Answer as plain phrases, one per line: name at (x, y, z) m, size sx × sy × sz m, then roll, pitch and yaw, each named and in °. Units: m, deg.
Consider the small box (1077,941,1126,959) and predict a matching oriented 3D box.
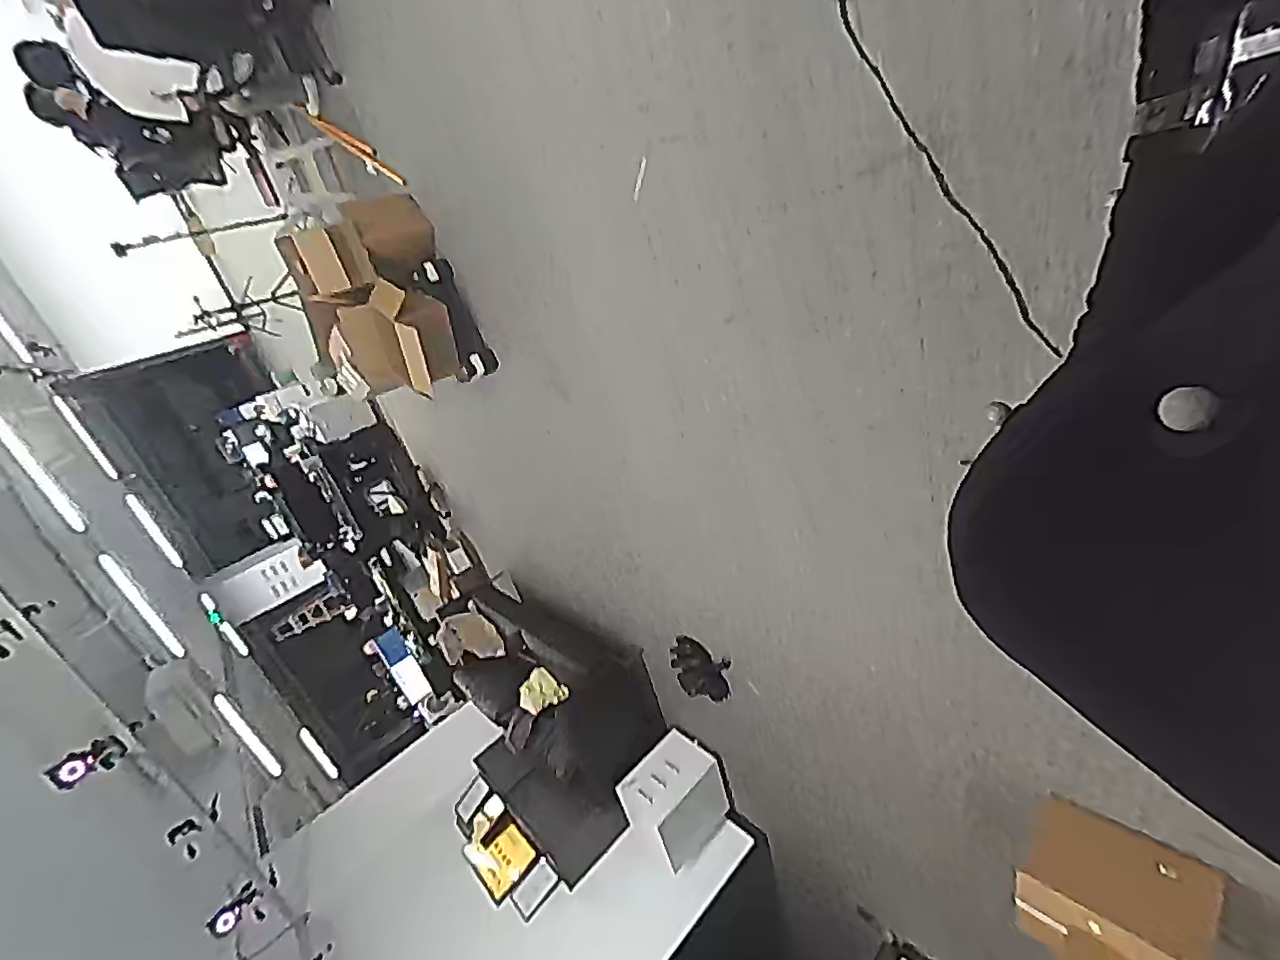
small box at (1.262, 1.391, 1.442) m, size 0.179 × 0.176 × 0.168 m, roll 19°, pitch 127°, yaw 45°
